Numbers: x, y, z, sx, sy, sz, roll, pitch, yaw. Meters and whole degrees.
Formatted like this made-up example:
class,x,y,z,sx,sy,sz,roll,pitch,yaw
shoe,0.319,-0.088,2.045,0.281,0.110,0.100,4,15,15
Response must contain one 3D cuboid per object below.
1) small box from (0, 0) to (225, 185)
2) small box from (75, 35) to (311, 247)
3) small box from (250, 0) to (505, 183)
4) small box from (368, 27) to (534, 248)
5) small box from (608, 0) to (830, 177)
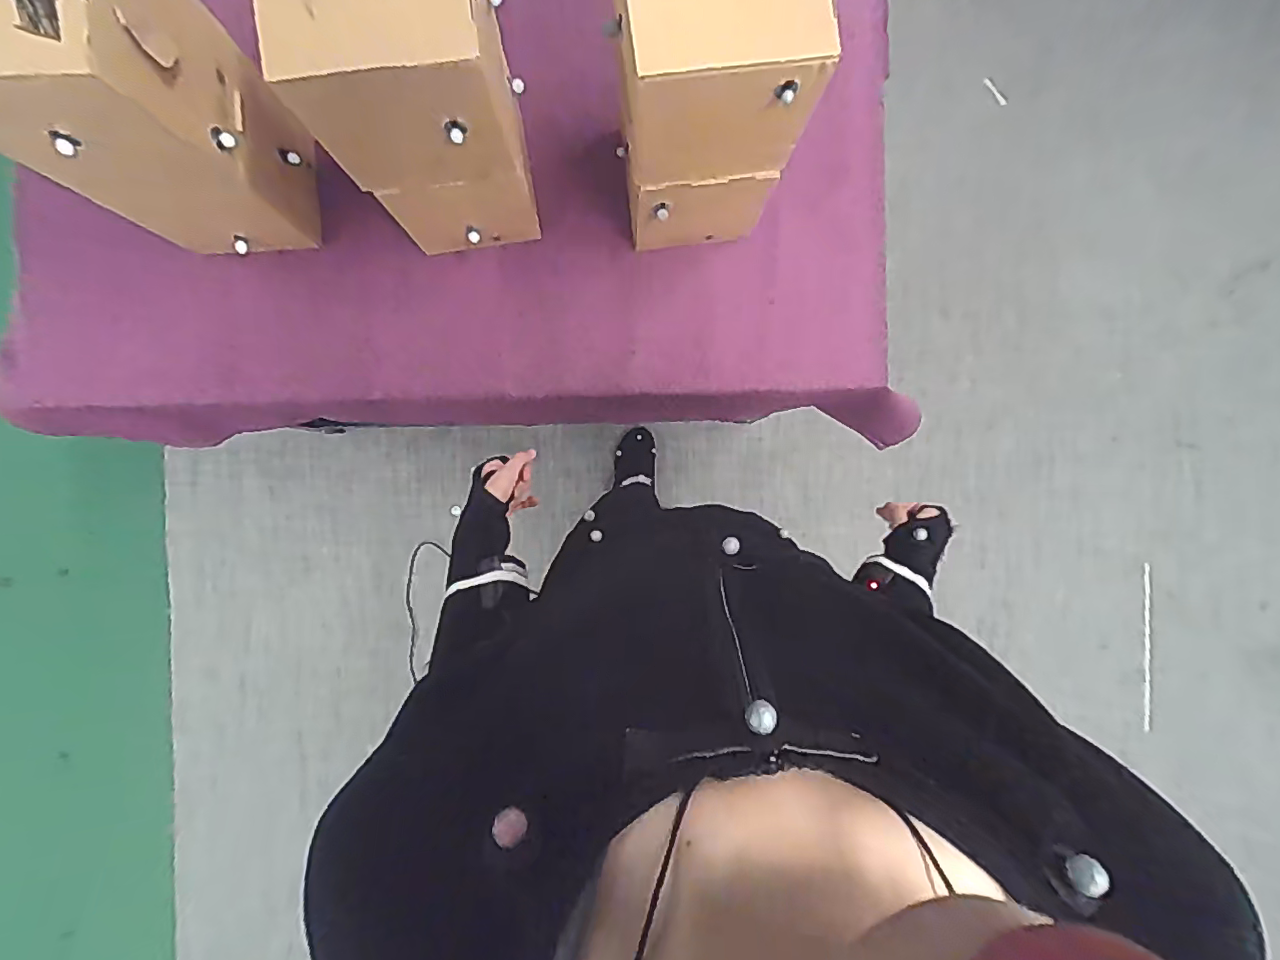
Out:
class,x,y,z,sx,sy,sz,roll,pitch,yaw
small box,-0.529,-0.400,0.505,0.179,0.176,0.168,-3,92,-1
small box,-0.536,-0.403,0.669,0.179,0.176,0.168,-3,91,-2
small box,-0.234,-0.414,0.518,0.179,0.176,0.168,-7,91,-1
small box,-0.237,-0.420,0.682,0.168,0.176,0.179,-9,92,-1
small box,0.062,-0.425,0.529,0.179,0.176,0.168,-8,91,-2
